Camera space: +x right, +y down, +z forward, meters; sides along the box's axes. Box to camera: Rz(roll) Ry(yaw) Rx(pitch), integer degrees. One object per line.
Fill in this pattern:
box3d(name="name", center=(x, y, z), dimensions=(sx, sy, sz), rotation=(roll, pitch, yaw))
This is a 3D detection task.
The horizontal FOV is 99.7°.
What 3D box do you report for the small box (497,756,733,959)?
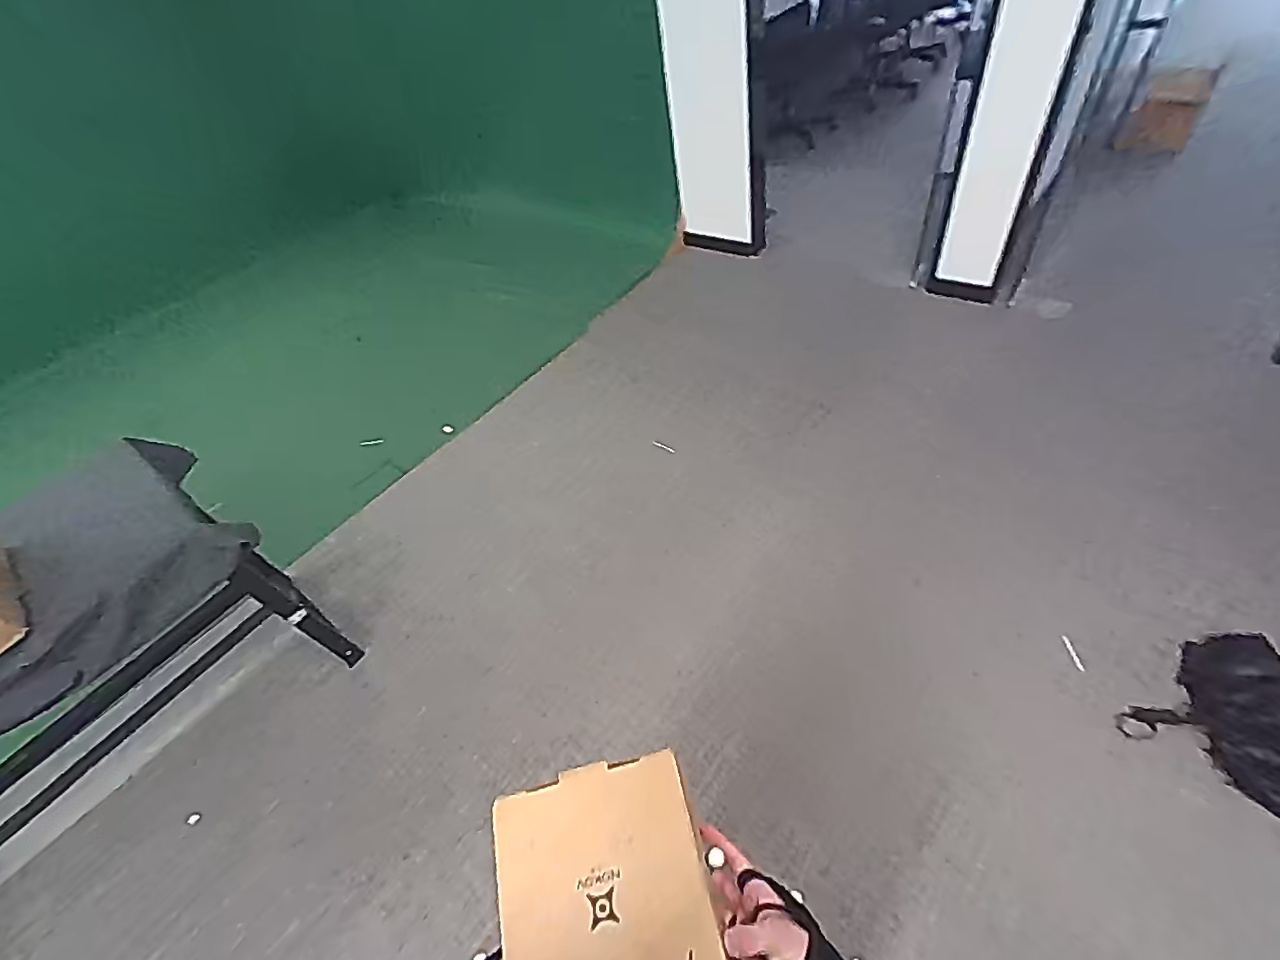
box3d(name="small box", center=(-0.017, 0.377, 0.487), dimensions=(0.168, 0.176, 0.179), rotation=(-16, 55, -3))
